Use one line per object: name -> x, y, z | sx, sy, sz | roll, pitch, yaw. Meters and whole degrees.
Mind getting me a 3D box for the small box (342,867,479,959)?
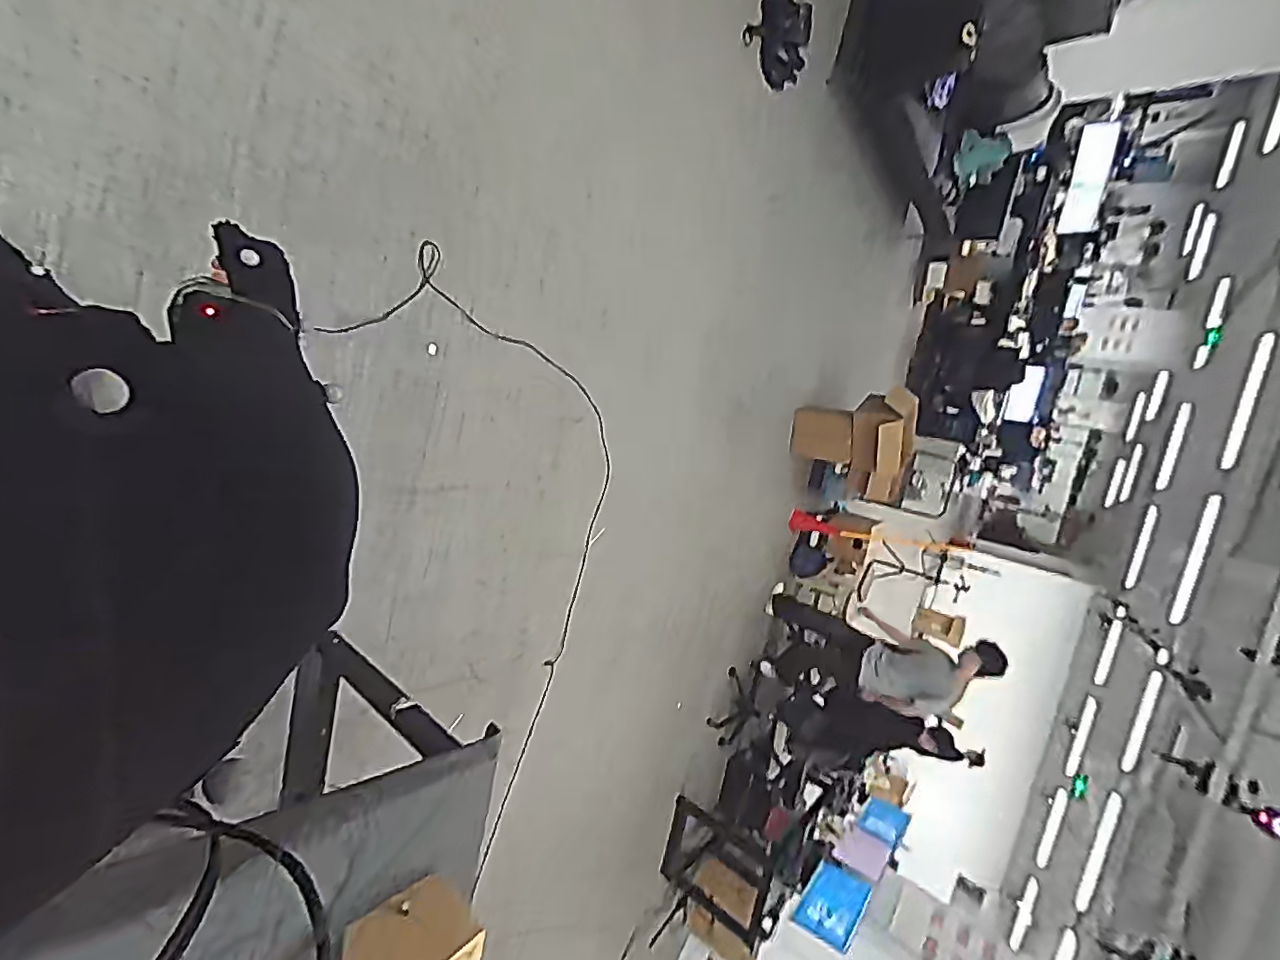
small box -> -0.421, 0.862, 0.976 | 0.179, 0.176, 0.168 | -1, 104, -52
